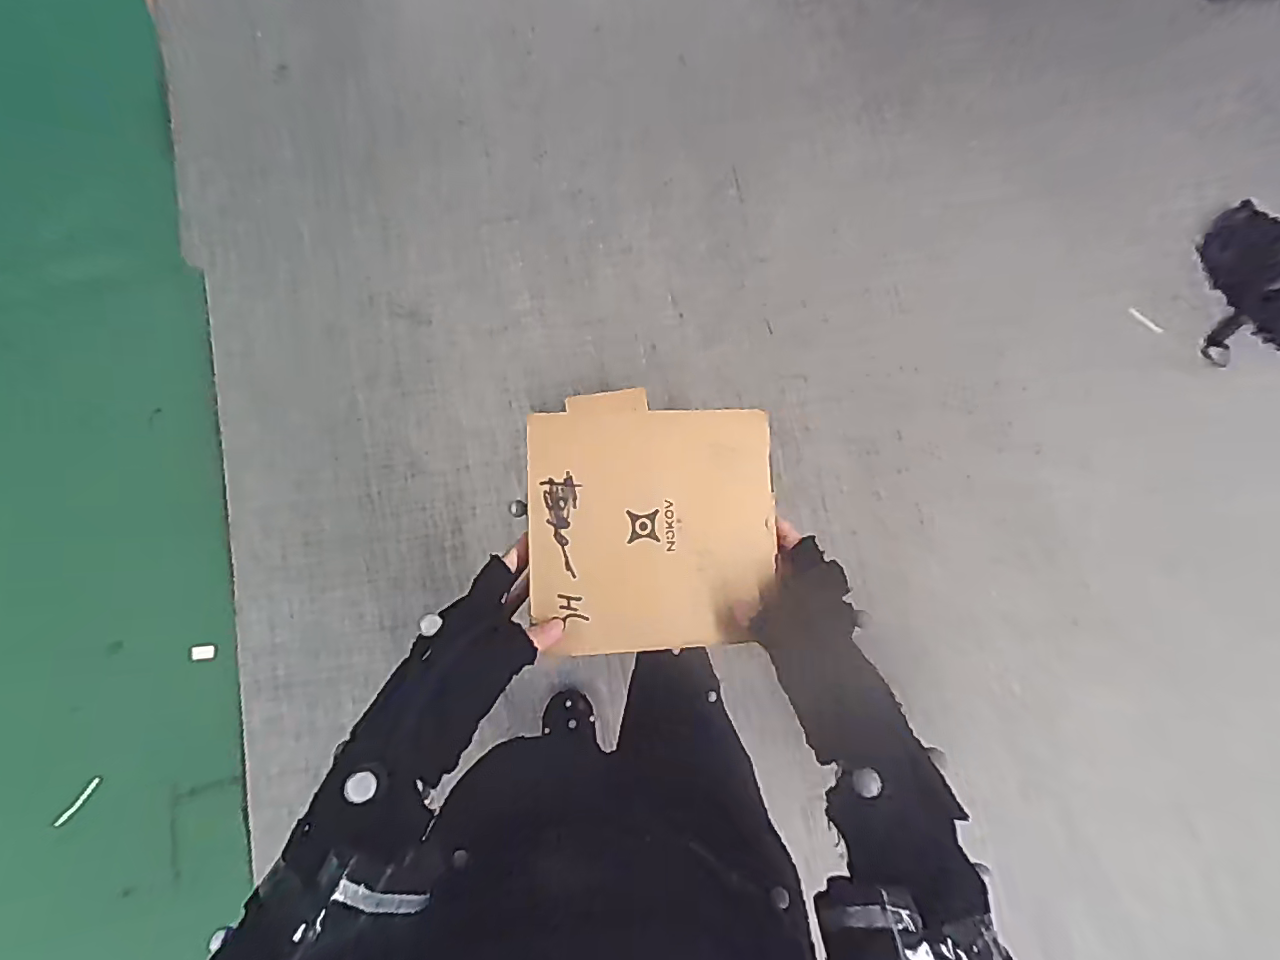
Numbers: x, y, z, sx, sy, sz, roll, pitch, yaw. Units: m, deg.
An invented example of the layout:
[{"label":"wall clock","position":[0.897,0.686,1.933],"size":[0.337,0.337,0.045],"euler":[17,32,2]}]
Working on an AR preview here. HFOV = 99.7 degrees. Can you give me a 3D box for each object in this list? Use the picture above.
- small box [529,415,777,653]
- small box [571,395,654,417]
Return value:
[{"label":"small box","position":[-0.001,0.043,0.462],"size":[0.179,0.176,0.168],"euler":[-2,83,-8]},{"label":"small box","position":[-0.057,-0.083,1.212],"size":[0.179,0.176,0.168],"euler":[-5,80,-2]}]
